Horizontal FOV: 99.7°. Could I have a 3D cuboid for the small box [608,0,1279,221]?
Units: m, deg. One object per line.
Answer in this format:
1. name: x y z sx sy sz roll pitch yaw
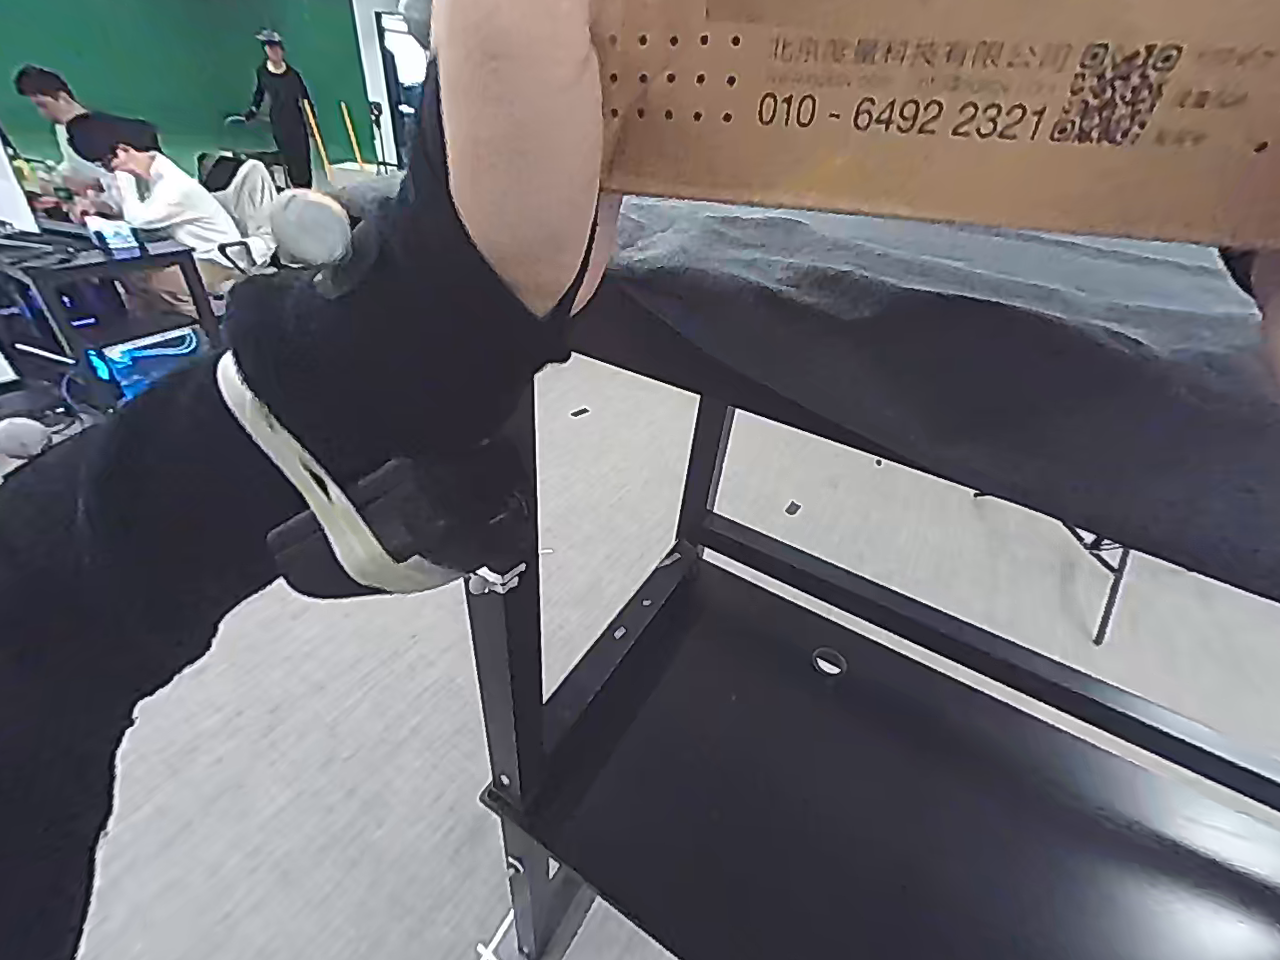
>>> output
1. small box: 0.088 -0.177 0.119 0.168 0.176 0.179 10 44 10
